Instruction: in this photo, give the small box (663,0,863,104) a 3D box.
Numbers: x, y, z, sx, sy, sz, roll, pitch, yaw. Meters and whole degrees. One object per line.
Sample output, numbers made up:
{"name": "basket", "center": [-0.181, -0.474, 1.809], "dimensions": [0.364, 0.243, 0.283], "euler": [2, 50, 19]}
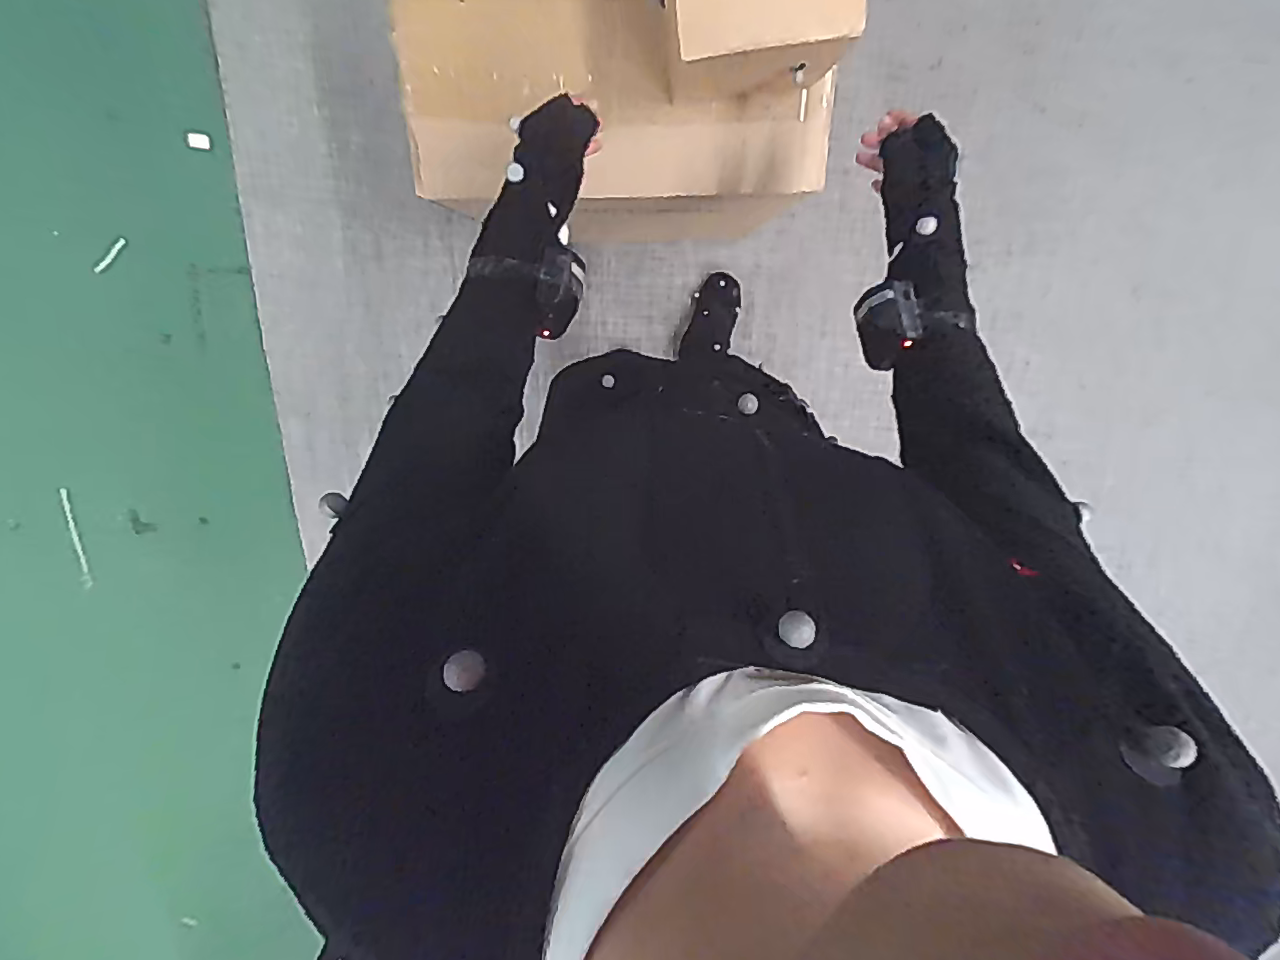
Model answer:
{"name": "small box", "center": [0.114, -0.512, 0.554], "dimensions": [0.179, 0.176, 0.168], "euler": [-6, 112, 5]}
